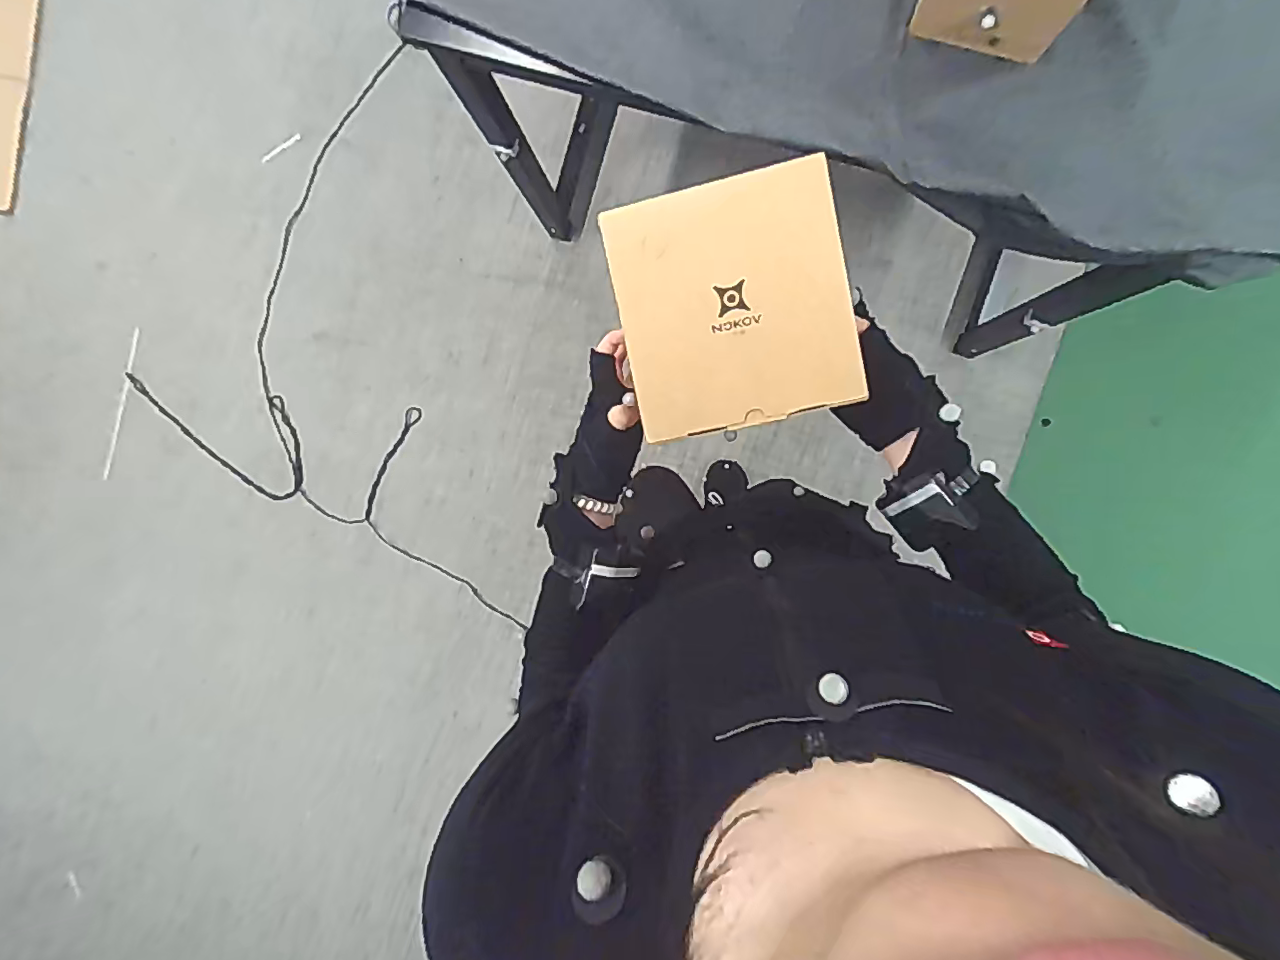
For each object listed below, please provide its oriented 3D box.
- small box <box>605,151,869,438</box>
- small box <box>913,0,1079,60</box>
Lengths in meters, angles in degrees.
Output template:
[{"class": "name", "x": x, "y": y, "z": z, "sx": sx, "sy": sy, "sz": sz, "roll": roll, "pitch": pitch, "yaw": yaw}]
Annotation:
[{"class": "small box", "x": 0.075, "y": -0.138, "z": 0.469, "sx": 0.168, "sy": 0.176, "sz": 0.179, "roll": -12, "pitch": 96, "yaw": 6}, {"class": "small box", "x": 0.443, "y": -0.642, "z": 0.615, "sx": 0.168, "sy": 0.176, "sz": 0.179, "roll": 19, "pitch": 94, "yaw": 4}]
